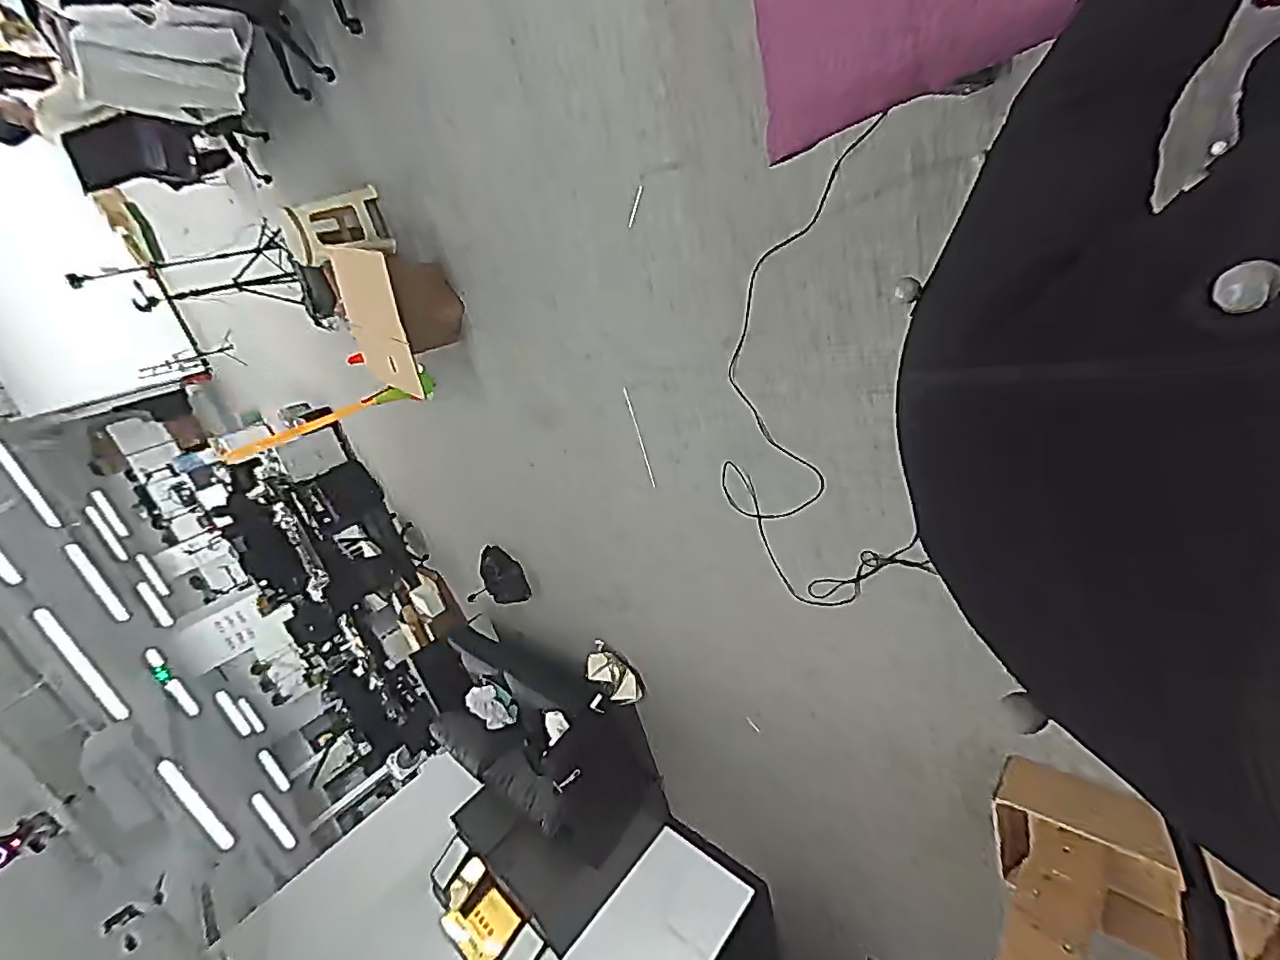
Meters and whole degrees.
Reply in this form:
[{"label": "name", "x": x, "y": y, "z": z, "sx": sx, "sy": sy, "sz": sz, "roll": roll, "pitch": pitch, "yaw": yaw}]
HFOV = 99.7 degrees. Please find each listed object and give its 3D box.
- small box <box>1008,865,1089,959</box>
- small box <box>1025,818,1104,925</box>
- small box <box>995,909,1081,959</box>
[{"label": "small box", "x": 1.166, "y": 1.260, "z": 1.546, "sx": 0.168, "sy": 0.176, "sz": 0.179, "roll": 4, "pitch": 118, "yaw": 45}, {"label": "small box", "x": 1.296, "y": 1.181, "z": 1.647, "sx": 0.168, "sy": 0.176, "sz": 0.179, "roll": -3, "pitch": 114, "yaw": 46}, {"label": "small box", "x": 1.068, "y": 1.318, "z": 1.452, "sx": 0.168, "sy": 0.176, "sz": 0.179, "roll": 5, "pitch": 119, "yaw": 46}]
